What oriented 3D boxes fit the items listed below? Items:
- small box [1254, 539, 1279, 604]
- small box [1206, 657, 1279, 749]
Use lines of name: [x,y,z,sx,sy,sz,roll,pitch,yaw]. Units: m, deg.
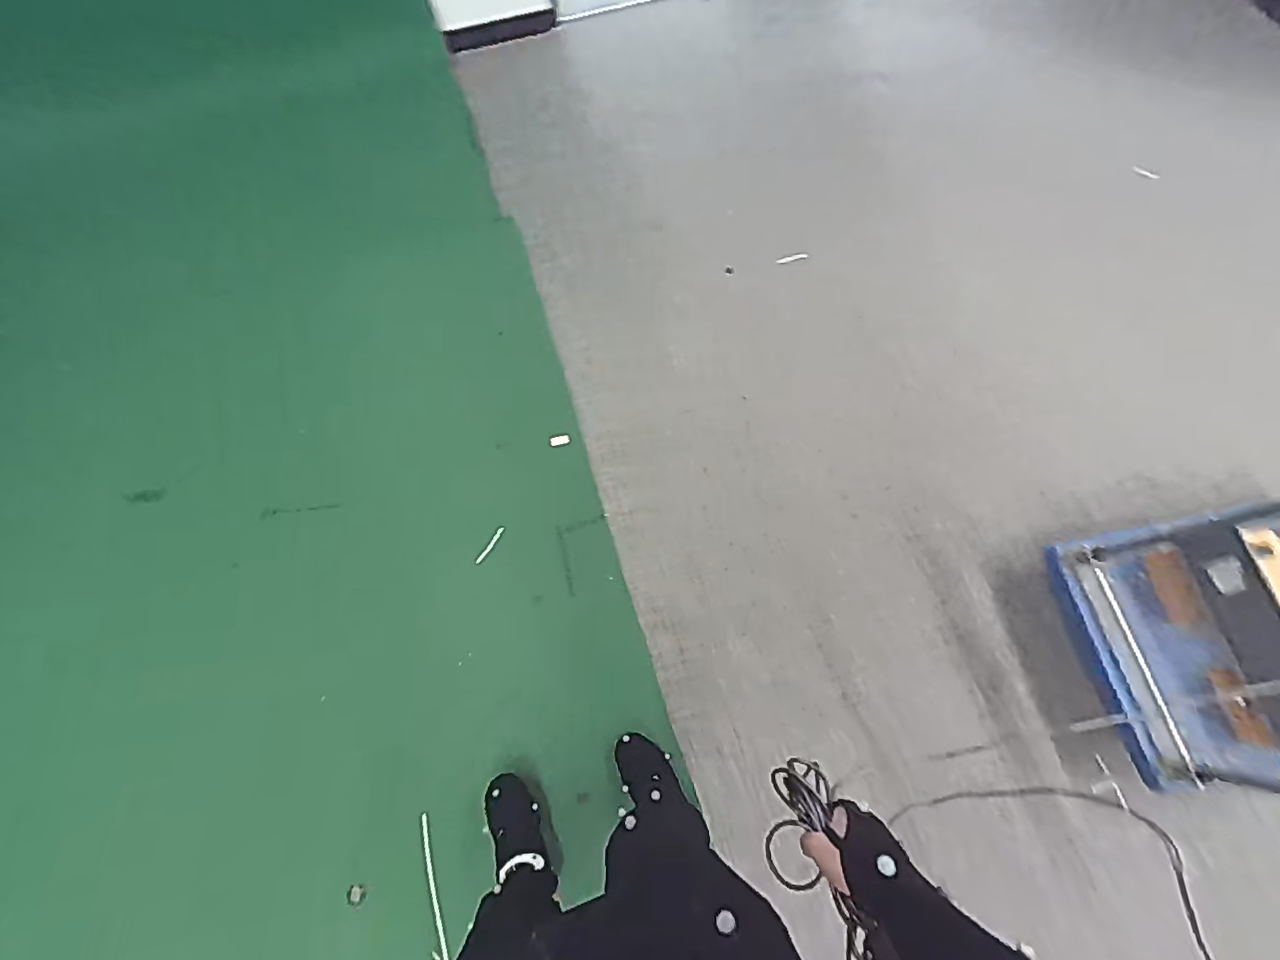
small box: [1.610,0.201,1.255,0.179,0.176,0.168,-13,71,-4]
small box: [1.408,0.475,1.162,0.179,0.176,0.168,-9,71,-2]
